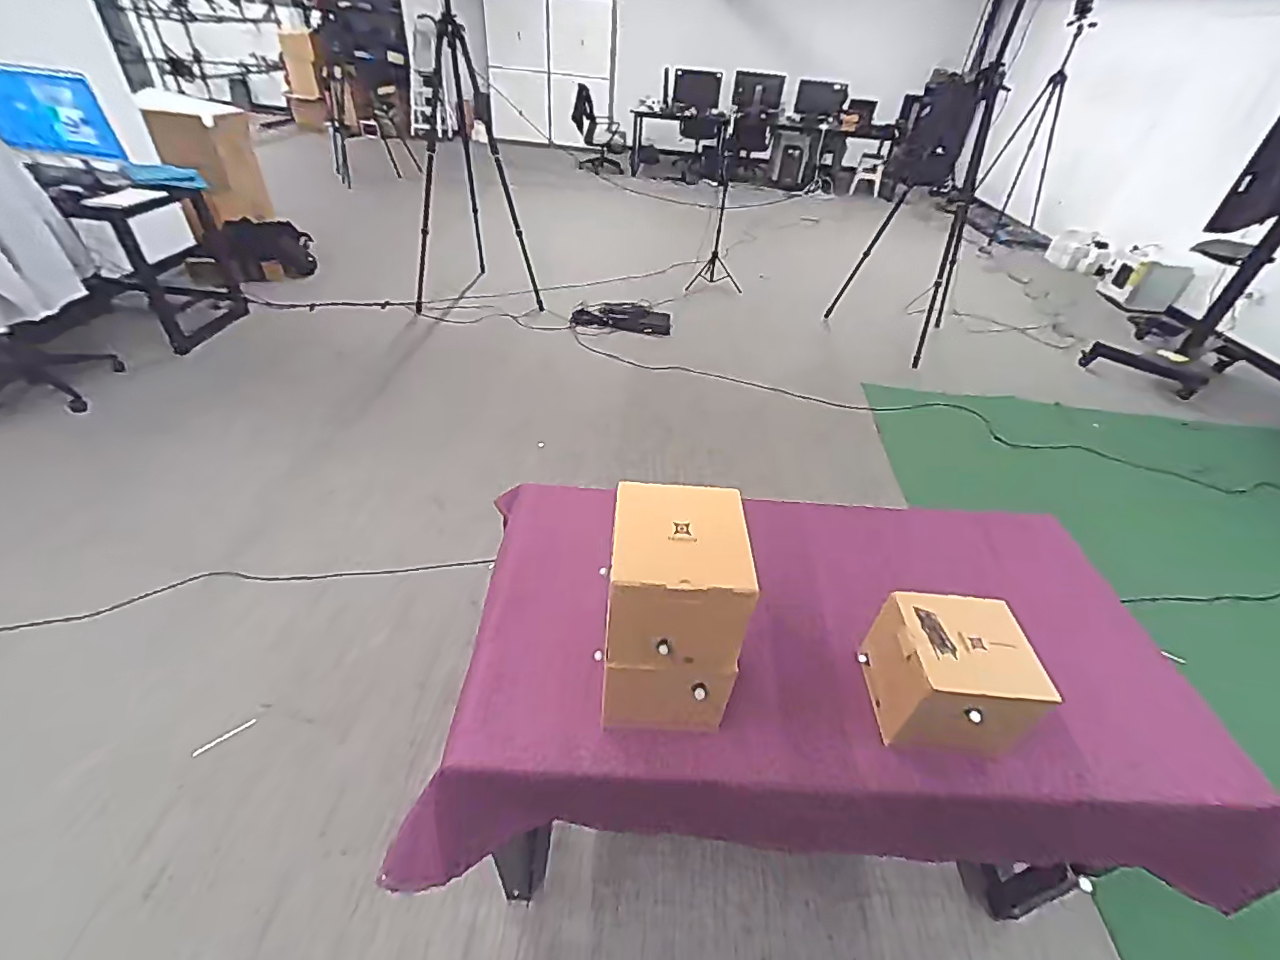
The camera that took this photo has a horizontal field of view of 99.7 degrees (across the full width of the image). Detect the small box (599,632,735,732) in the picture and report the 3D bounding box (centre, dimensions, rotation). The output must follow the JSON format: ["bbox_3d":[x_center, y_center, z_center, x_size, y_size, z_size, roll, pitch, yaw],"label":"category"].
[{"bbox_3d":[0.033,0.259,0.811,0.179,0.176,0.168,4,39,-2],"label":"small box"}]

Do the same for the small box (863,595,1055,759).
[{"bbox_3d":[0.455,0.297,0.813,0.179,0.176,0.168,6,39,0],"label":"small box"}]

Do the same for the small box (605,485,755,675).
[{"bbox_3d":[0.042,0.130,0.712,0.168,0.176,0.179,4,40,-2],"label":"small box"}]
